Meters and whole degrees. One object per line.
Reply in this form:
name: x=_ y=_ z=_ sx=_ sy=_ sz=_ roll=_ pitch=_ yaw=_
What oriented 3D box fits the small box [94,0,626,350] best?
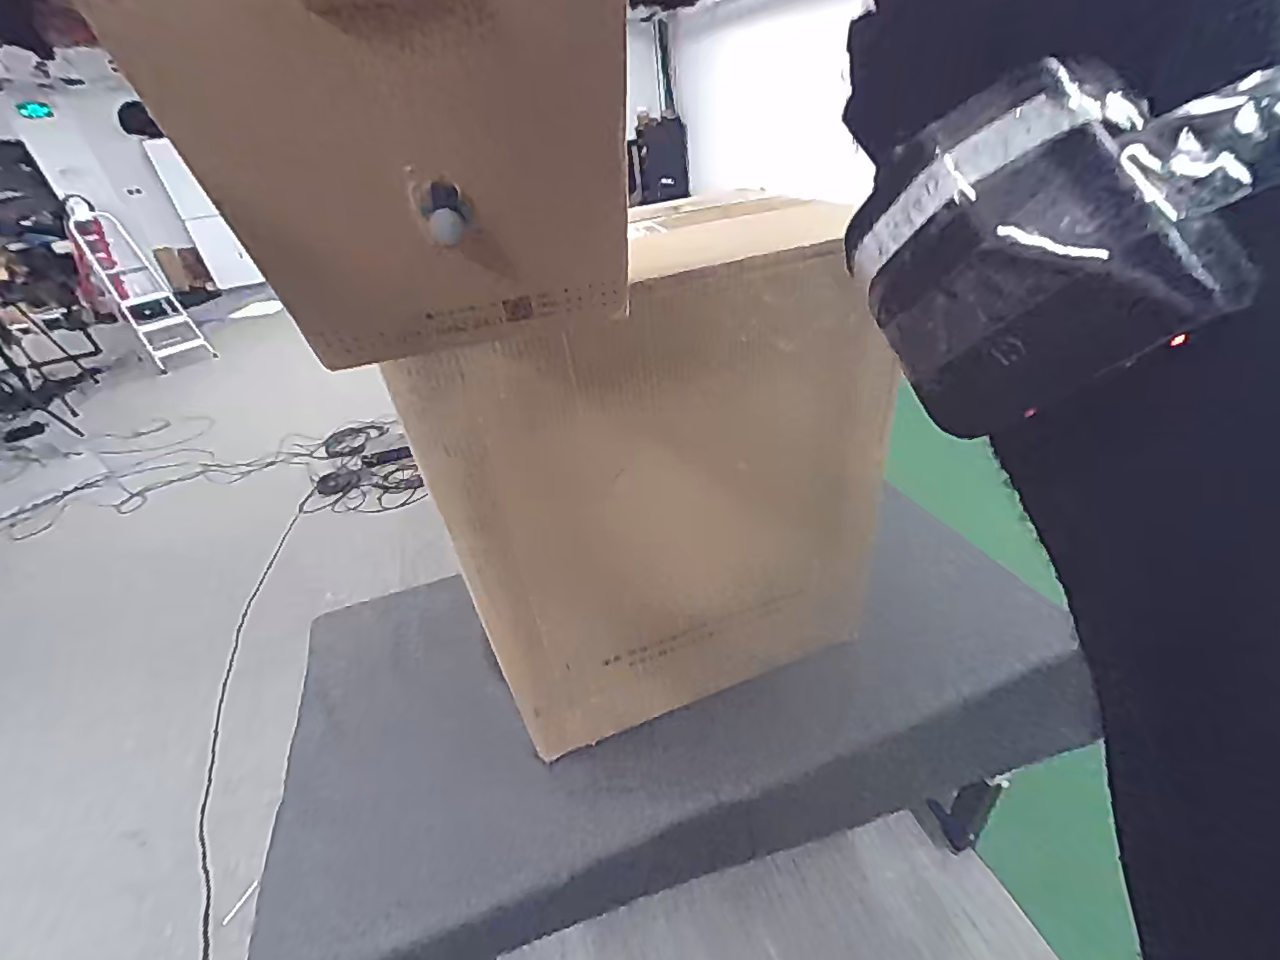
small box: x=-0.104 y=-0.186 z=0.278 sx=0.168 sy=0.176 sz=0.179 roll=-13 pitch=59 yaw=-9
